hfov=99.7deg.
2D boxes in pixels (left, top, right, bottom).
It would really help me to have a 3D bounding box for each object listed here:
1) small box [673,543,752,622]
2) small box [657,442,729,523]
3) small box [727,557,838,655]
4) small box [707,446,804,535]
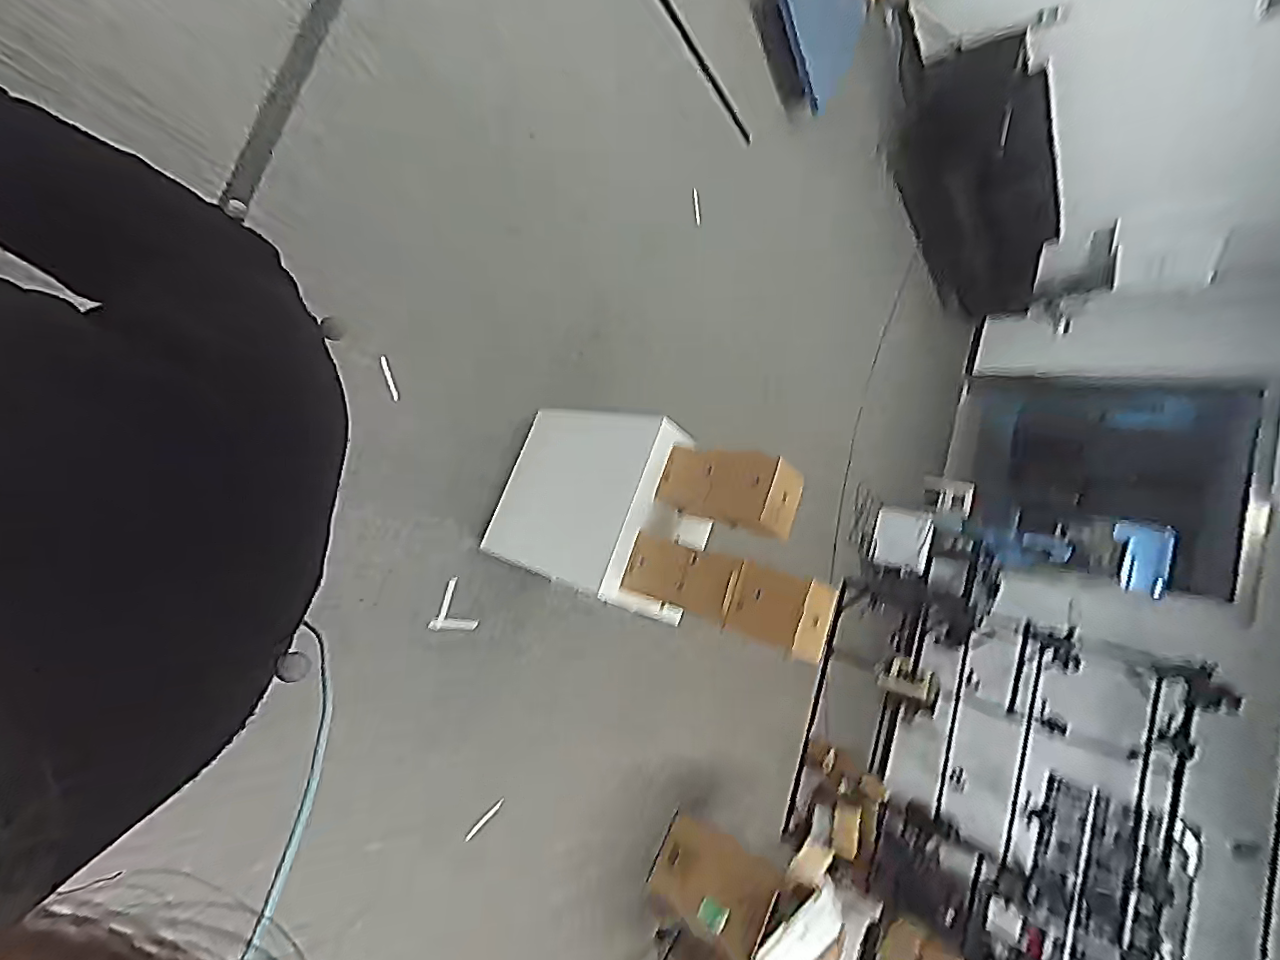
[{"bbox_3d":[0.208,0.264,1.351,0.179,0.176,0.168,30,75,-48],"label":"small box"},{"bbox_3d":[0.178,0.003,1.512,0.179,0.176,0.168,34,72,-47],"label":"small box"},{"bbox_3d":[0.327,0.286,1.243,0.179,0.176,0.168,30,75,-47],"label":"small box"},{"bbox_3d":[0.298,0.024,1.401,0.168,0.176,0.179,33,73,-46],"label":"small box"}]
